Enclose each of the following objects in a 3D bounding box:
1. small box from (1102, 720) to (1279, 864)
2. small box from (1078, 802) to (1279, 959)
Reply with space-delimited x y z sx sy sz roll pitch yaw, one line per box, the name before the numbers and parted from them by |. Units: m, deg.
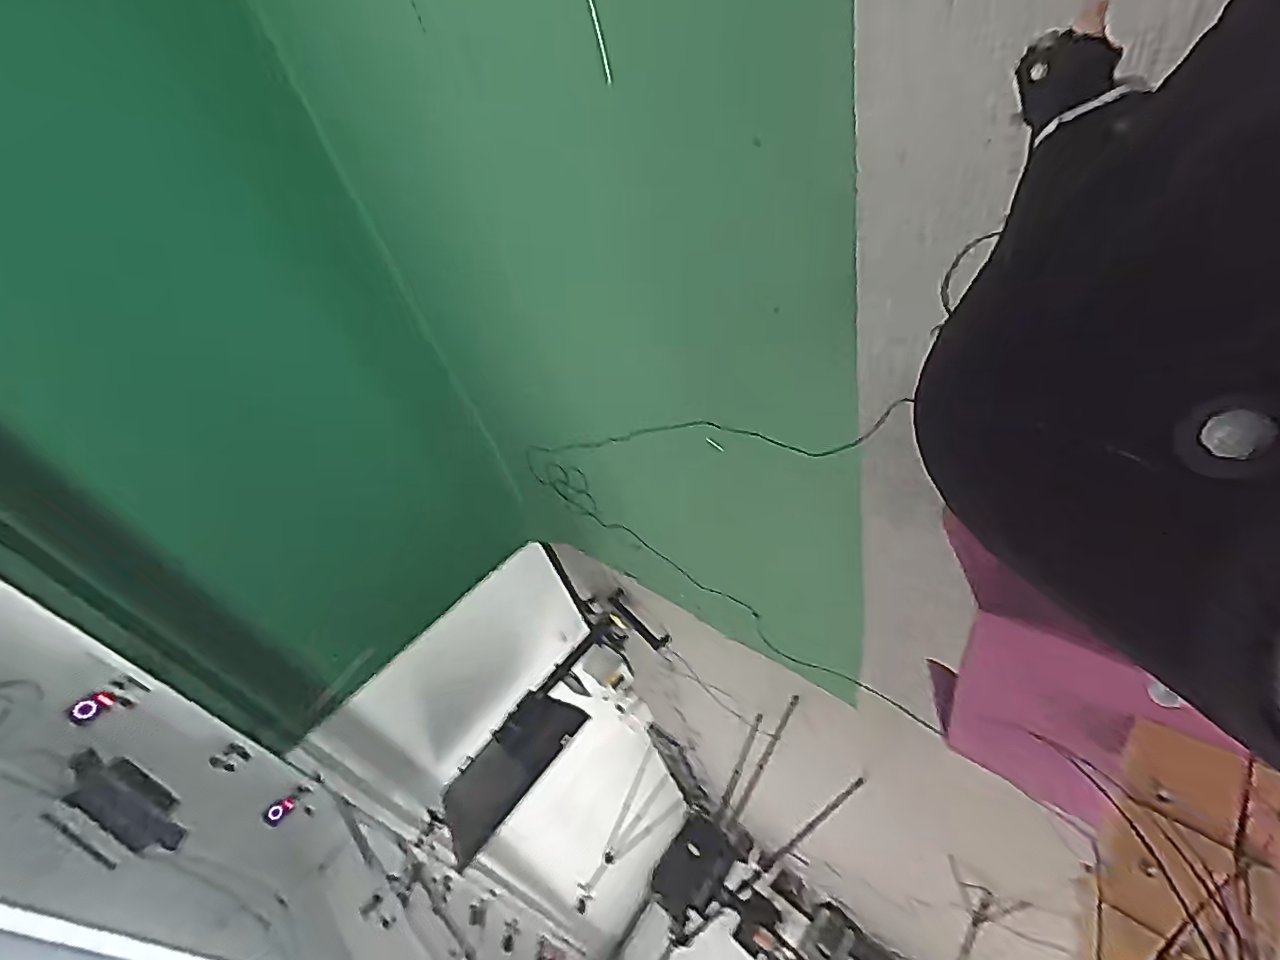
small box | 0.896 0.522 0.875 0.179 0.176 0.168 20 143 42
small box | 0.786 0.609 0.789 0.179 0.176 0.168 21 144 40
